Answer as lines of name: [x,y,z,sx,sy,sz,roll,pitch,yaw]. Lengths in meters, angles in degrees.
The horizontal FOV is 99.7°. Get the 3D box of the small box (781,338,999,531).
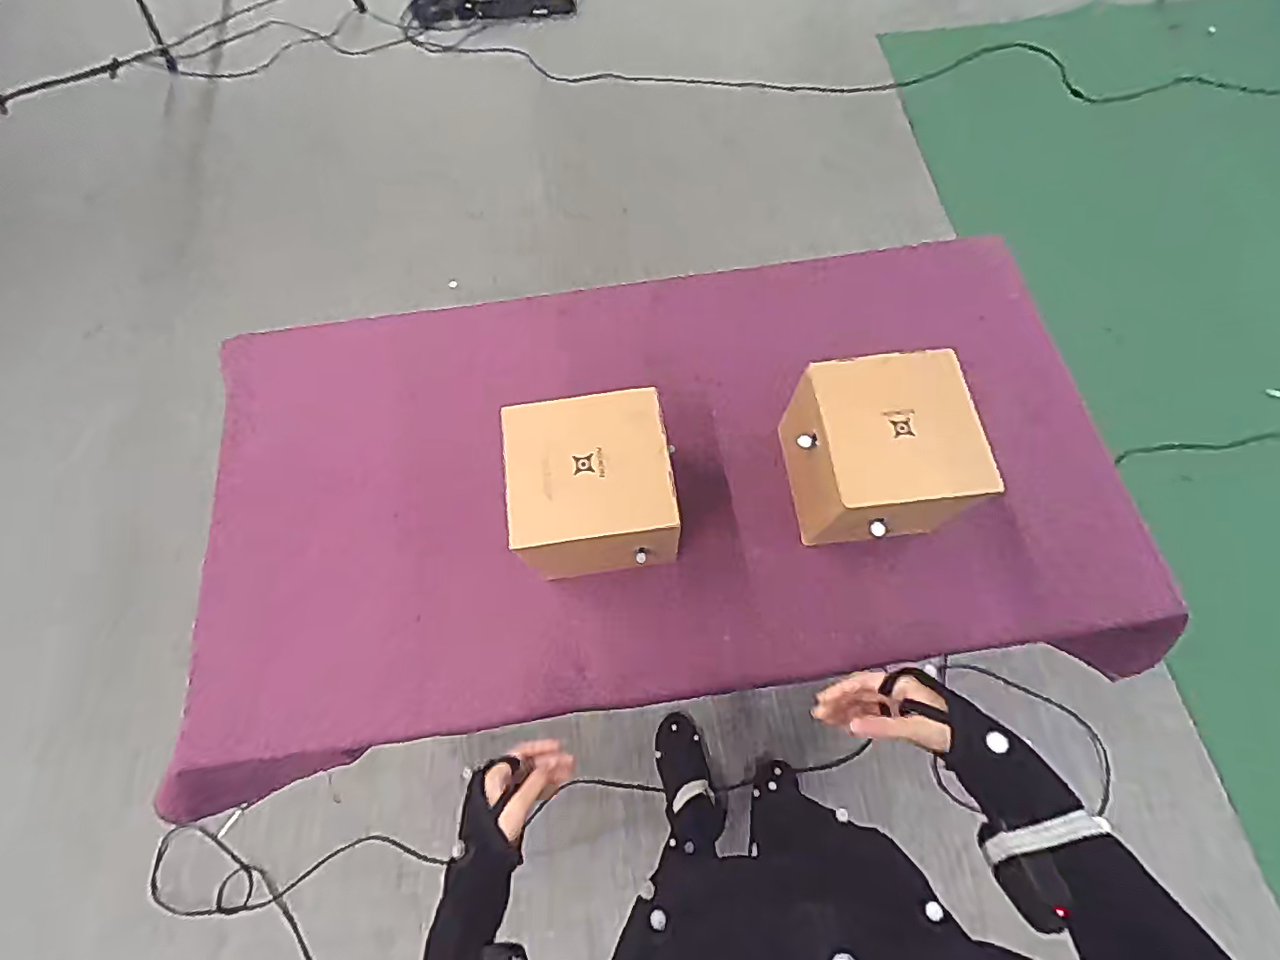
small box: [0.282,-0.043,0.656,0.168,0.176,0.179,-7,69,0]

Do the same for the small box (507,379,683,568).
small box: [-0.050,0.001,0.651,0.179,0.176,0.168,-8,68,-1]
